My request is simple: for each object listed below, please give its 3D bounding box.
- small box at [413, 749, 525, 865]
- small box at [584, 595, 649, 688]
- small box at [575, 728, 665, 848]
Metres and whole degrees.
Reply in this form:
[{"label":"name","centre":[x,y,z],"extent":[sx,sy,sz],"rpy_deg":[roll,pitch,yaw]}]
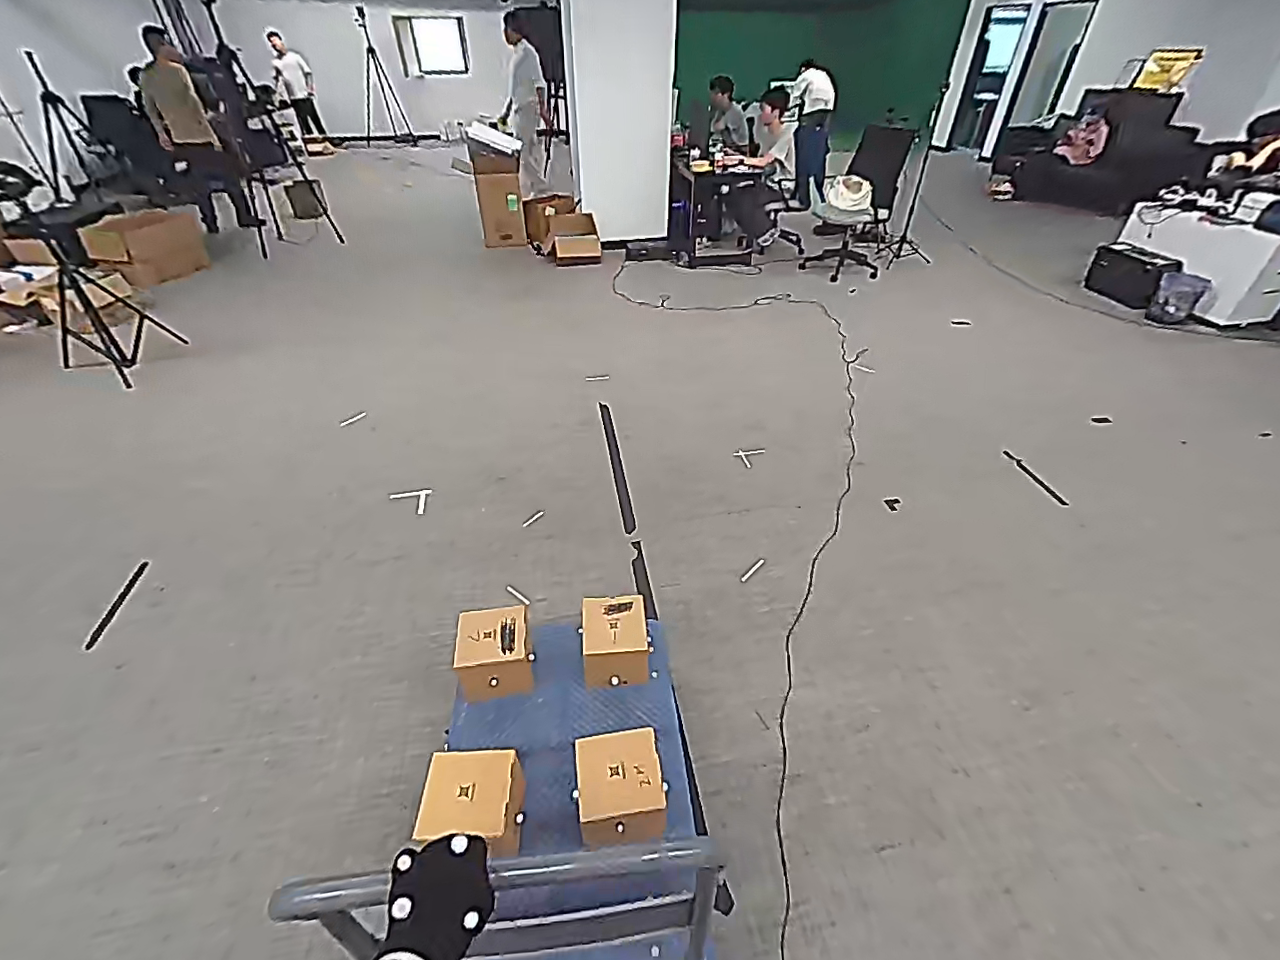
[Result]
[{"label":"small box","centre":[-0.350,0.693,1.144],"extent":[0.179,0.176,0.168],"rpy_deg":[-1,39,-3]},{"label":"small box","centre":[-0.065,0.435,1.458],"extent":[0.168,0.176,0.179],"rpy_deg":[-3,40,-3]},{"label":"small box","centre":[-0.043,0.667,1.170],"extent":[0.179,0.176,0.168],"rpy_deg":[-6,39,-6]}]
